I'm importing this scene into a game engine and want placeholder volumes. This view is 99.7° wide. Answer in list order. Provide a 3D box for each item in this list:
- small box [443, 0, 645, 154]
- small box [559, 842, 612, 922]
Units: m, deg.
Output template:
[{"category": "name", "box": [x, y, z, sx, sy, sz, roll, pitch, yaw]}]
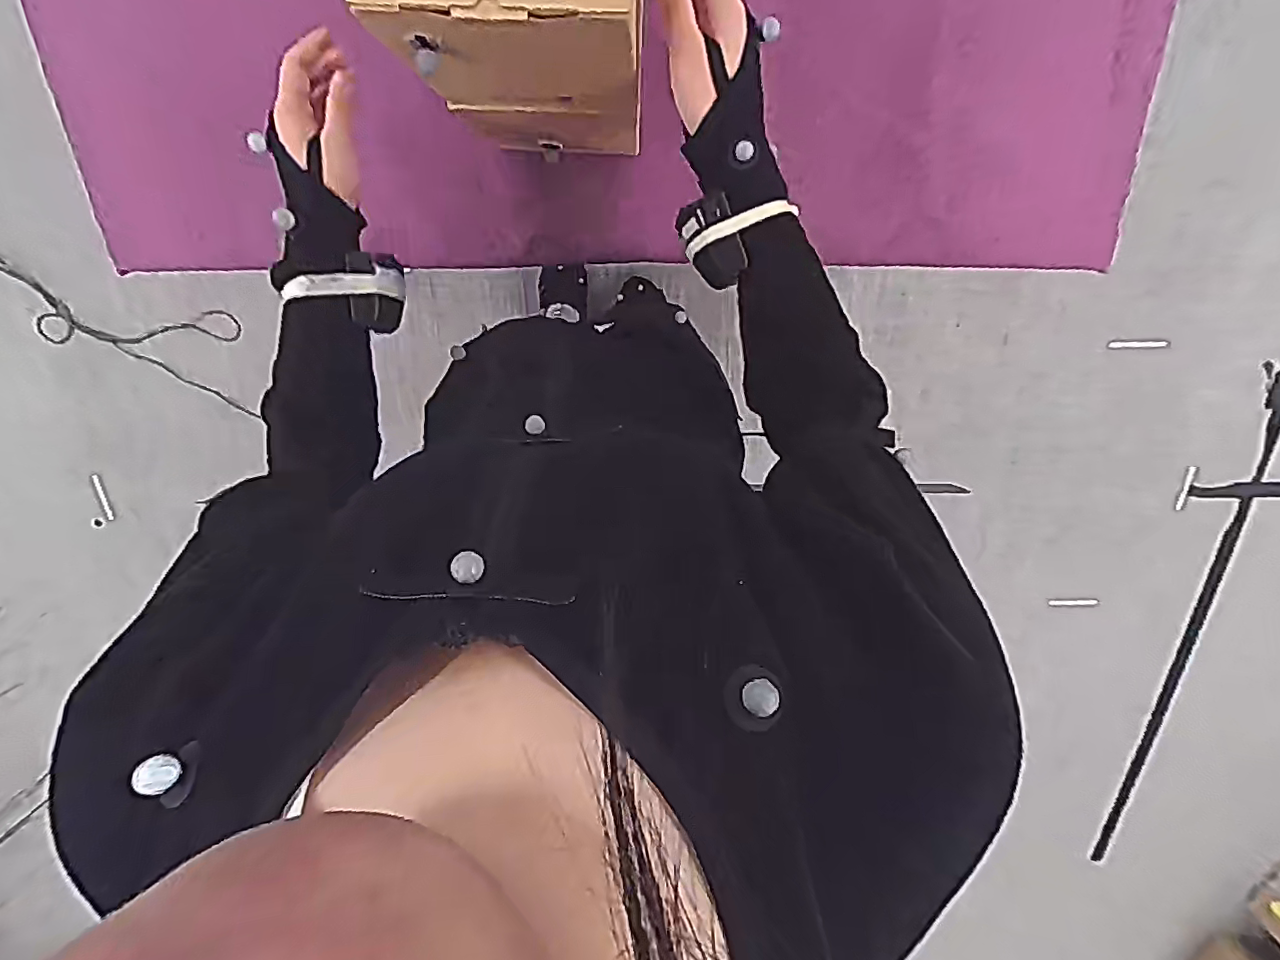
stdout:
[{"category": "small box", "box": [-0.079, -0.429, 0.512, 0.168, 0.176, 0.179, 2, 111, 0]}, {"category": "small box", "box": [-0.194, 1.462, 1.970, 0.168, 0.176, 0.179, -7, 111, 1]}]
